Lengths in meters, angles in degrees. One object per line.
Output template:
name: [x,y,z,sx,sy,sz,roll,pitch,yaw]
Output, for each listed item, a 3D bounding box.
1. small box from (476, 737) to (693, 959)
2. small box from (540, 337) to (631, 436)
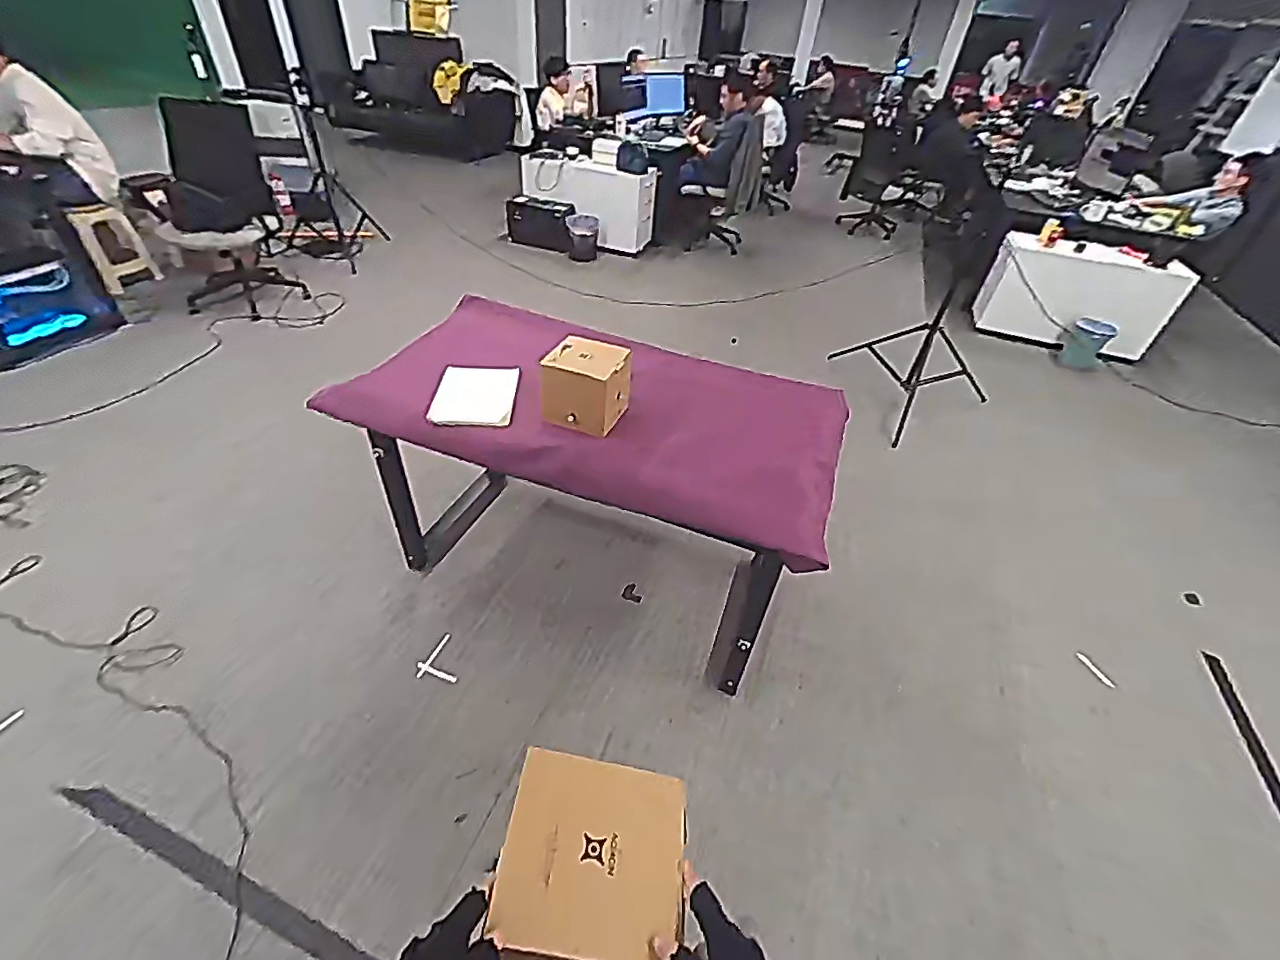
small box: [-0.054,0.398,0.551,0.179,0.176,0.168,13,34,-4]
small box: [-0.136,-0.233,1.365,0.179,0.176,0.168,17,41,12]
